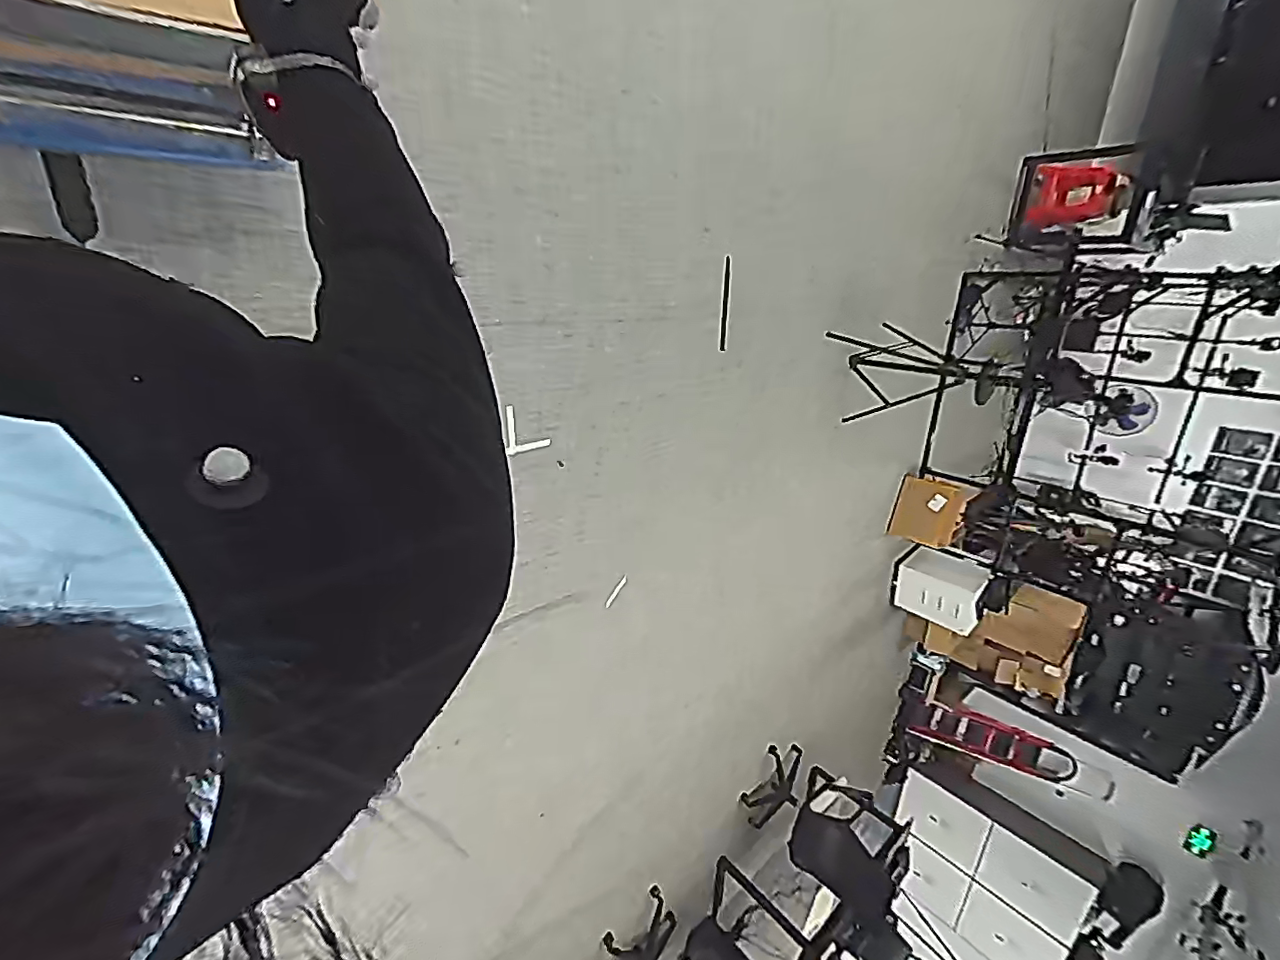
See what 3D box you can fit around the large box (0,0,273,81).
[{"bbox_3d":[-0.762,-0.739,0.671,0.408,0.320,0.320,-22,121,-38],"label":"large box"}]
